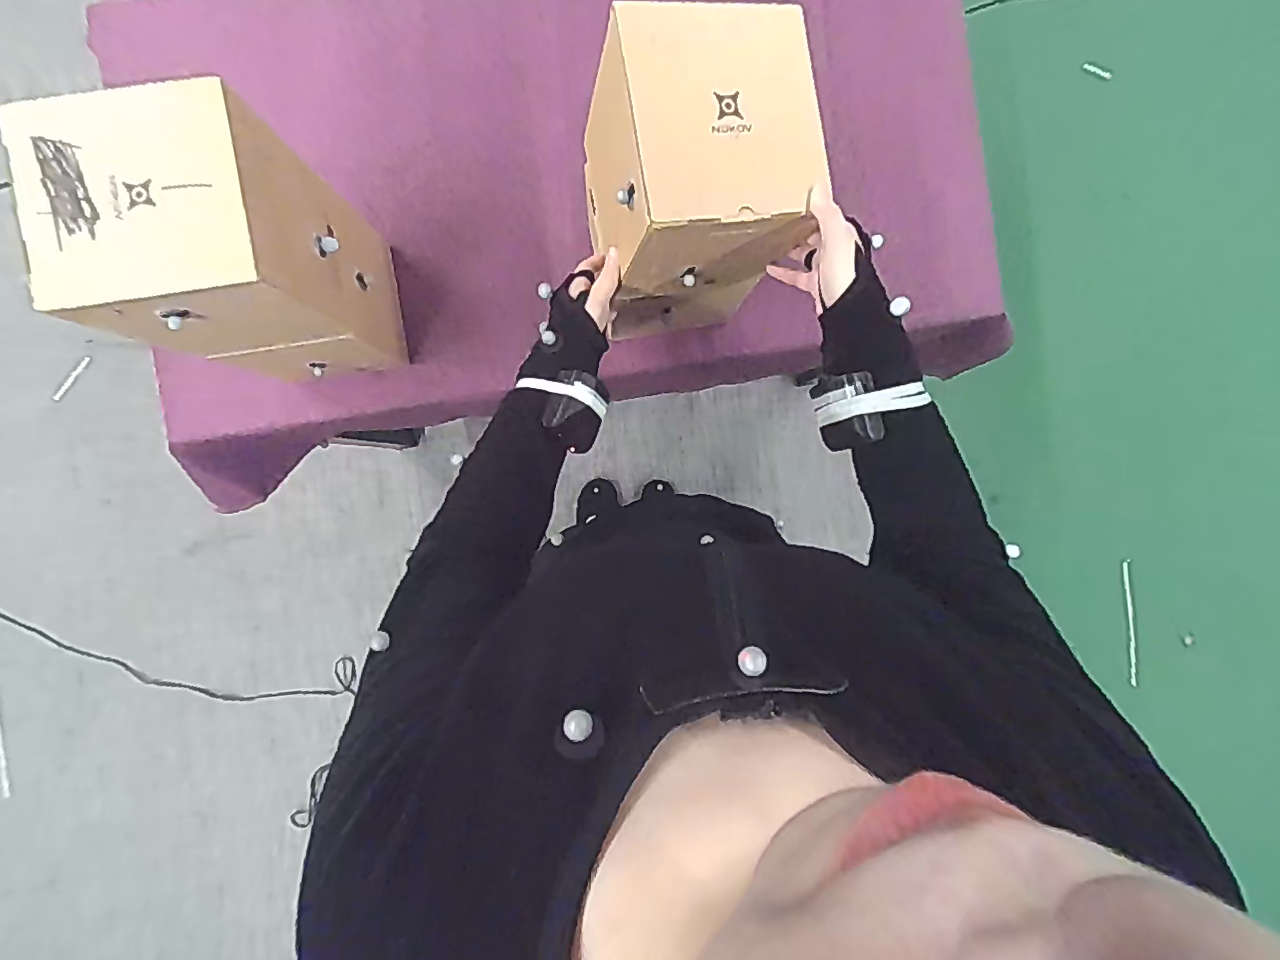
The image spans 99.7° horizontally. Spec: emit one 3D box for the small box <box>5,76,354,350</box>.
[{"bbox_3d":[-0.407,-0.230,0.510,0.179,0.176,0.168,-9,91,-2],"label":"small box"}]

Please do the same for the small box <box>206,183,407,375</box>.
[{"bbox_3d":[-0.411,-0.233,0.675,0.168,0.176,0.179,-9,91,-2],"label":"small box"}]

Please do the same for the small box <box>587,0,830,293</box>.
[{"bbox_3d":[0.050,-0.298,0.514,0.168,0.176,0.179,-11,93,-13],"label":"small box"}]

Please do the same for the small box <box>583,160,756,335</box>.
[{"bbox_3d":[0.033,-0.294,0.689,0.179,0.176,0.168,-10,92,-2],"label":"small box"}]
